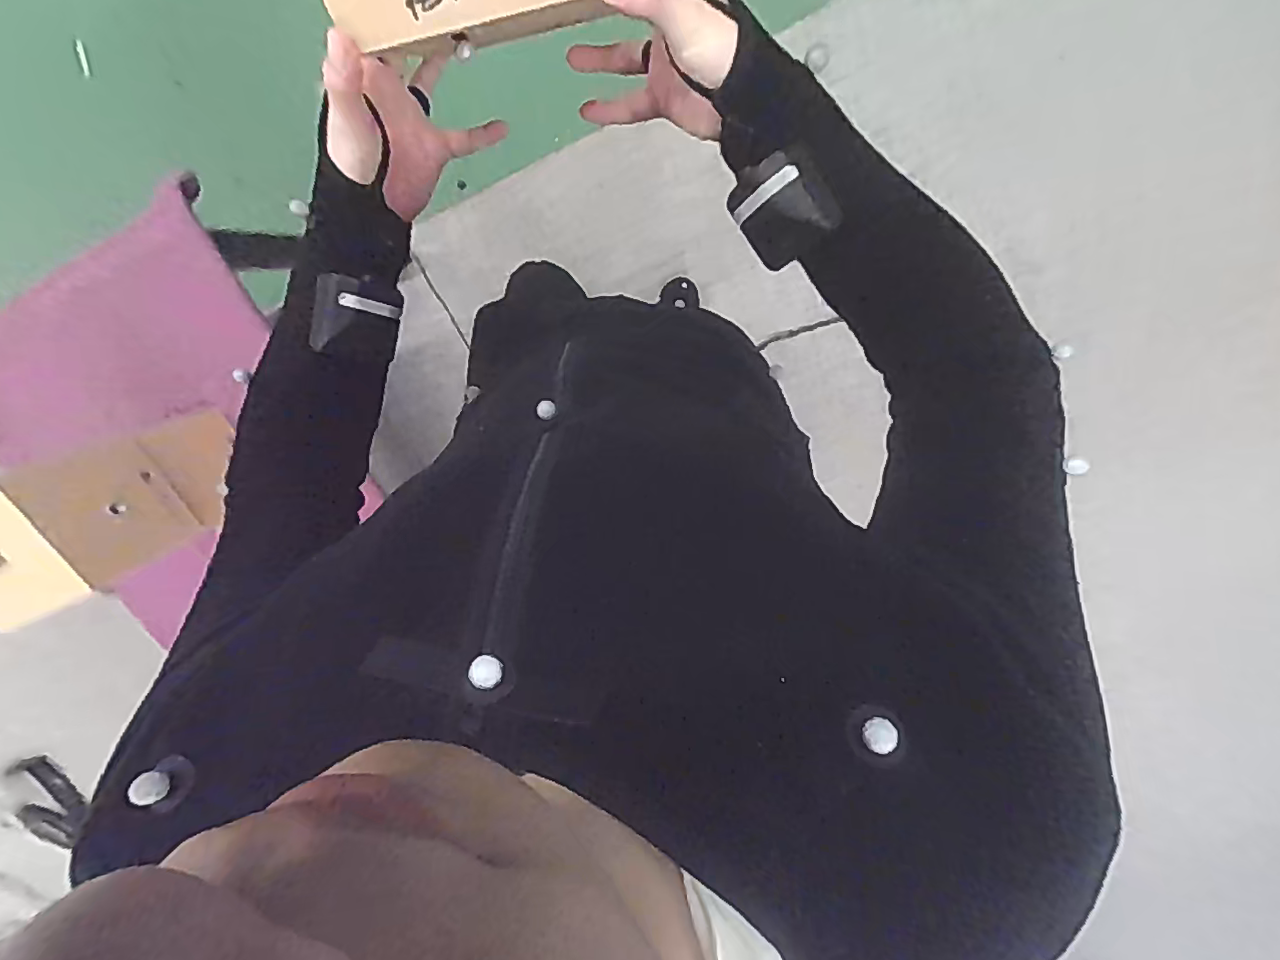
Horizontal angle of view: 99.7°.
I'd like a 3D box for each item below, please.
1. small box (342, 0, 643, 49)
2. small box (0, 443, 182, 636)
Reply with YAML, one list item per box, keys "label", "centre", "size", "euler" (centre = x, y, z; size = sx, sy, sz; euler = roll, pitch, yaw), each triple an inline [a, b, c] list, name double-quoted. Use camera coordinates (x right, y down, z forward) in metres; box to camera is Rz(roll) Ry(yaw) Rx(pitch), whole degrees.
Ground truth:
- label: "small box"
  centre: [-0.090, -0.373, 0.310]
  size: [0.168, 0.176, 0.179]
  euler: [-6, 127, 8]
- label: "small box"
  centre: [-0.761, 0.071, 0.706]
  size: [0.179, 0.176, 0.168]
  euler: [-21, 108, 12]
